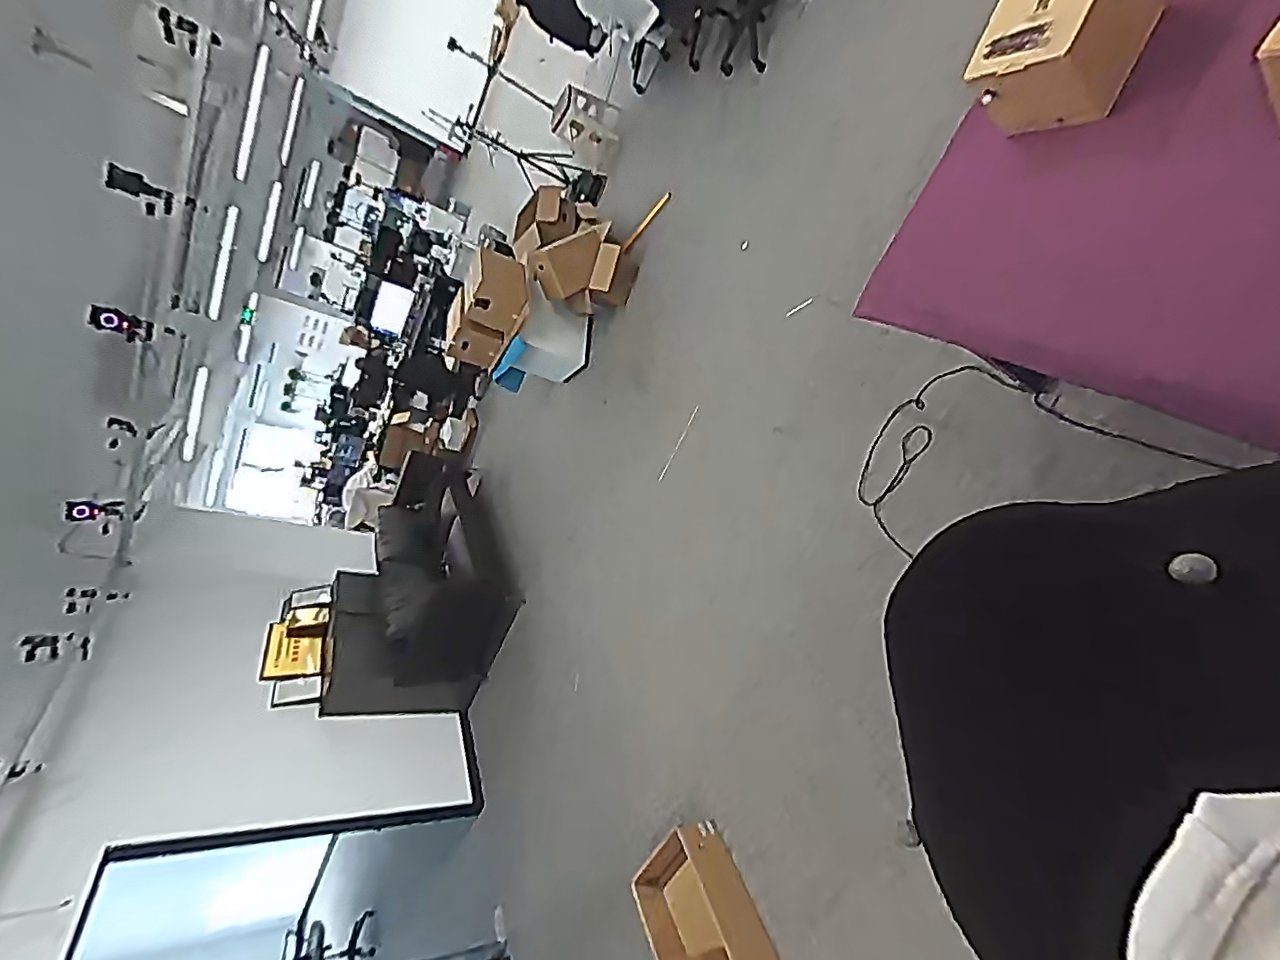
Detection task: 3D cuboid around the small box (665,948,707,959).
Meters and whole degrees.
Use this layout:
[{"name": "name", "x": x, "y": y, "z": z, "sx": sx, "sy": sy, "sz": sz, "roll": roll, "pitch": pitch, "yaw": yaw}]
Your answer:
[{"name": "small box", "x": 0.135, "y": 1.667, "z": 1.741, "sx": 0.168, "sy": 0.176, "sz": 0.179, "roll": 49, "pitch": 119, "yaw": 50}]
